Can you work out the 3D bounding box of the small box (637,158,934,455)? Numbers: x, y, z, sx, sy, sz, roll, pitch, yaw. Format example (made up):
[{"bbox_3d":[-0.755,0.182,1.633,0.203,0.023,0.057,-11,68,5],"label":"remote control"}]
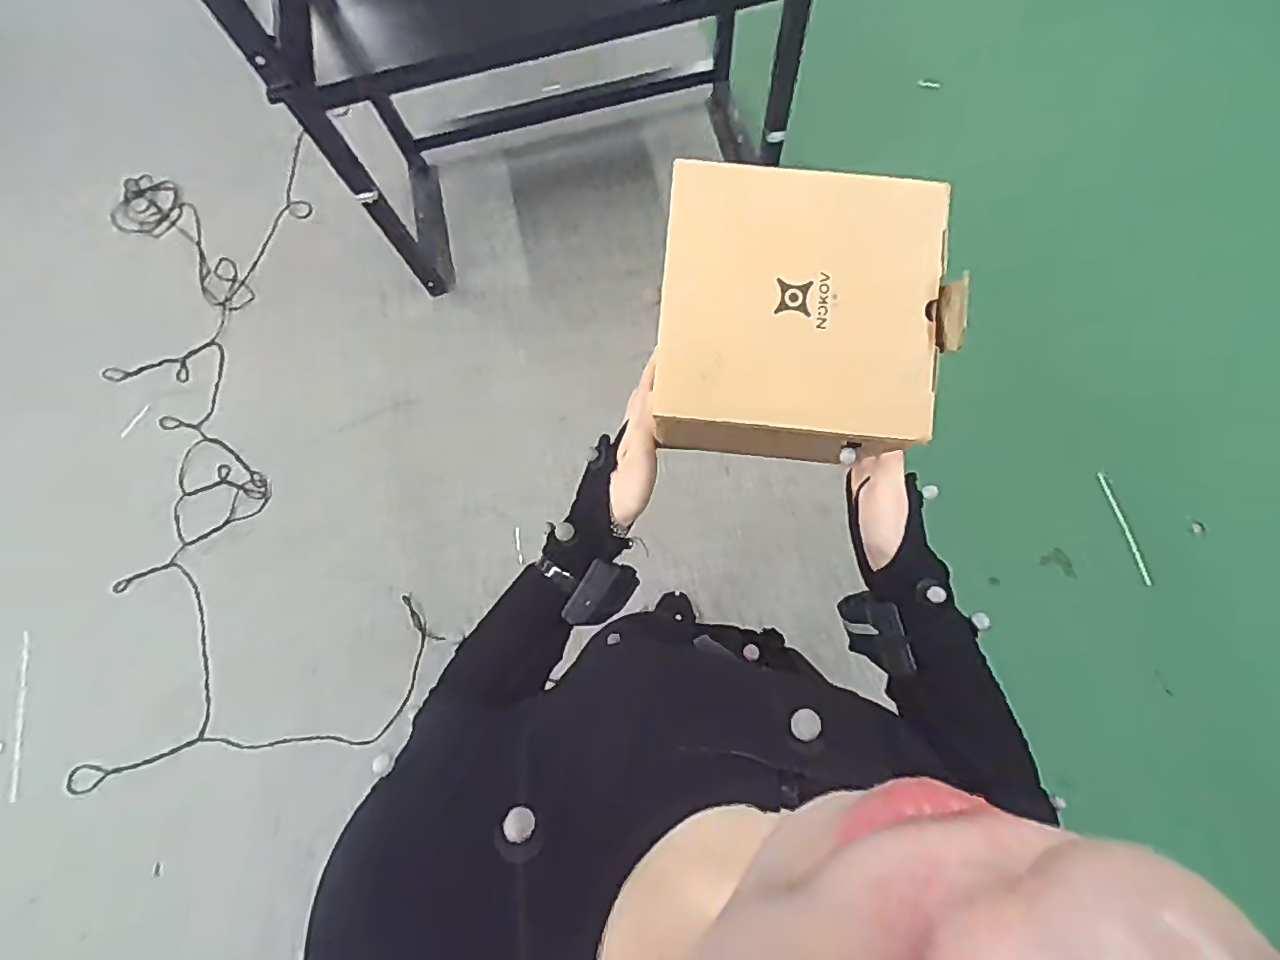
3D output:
[{"bbox_3d":[0.093,-0.112,0.417,0.179,0.176,0.168,5,88,0],"label":"small box"}]
